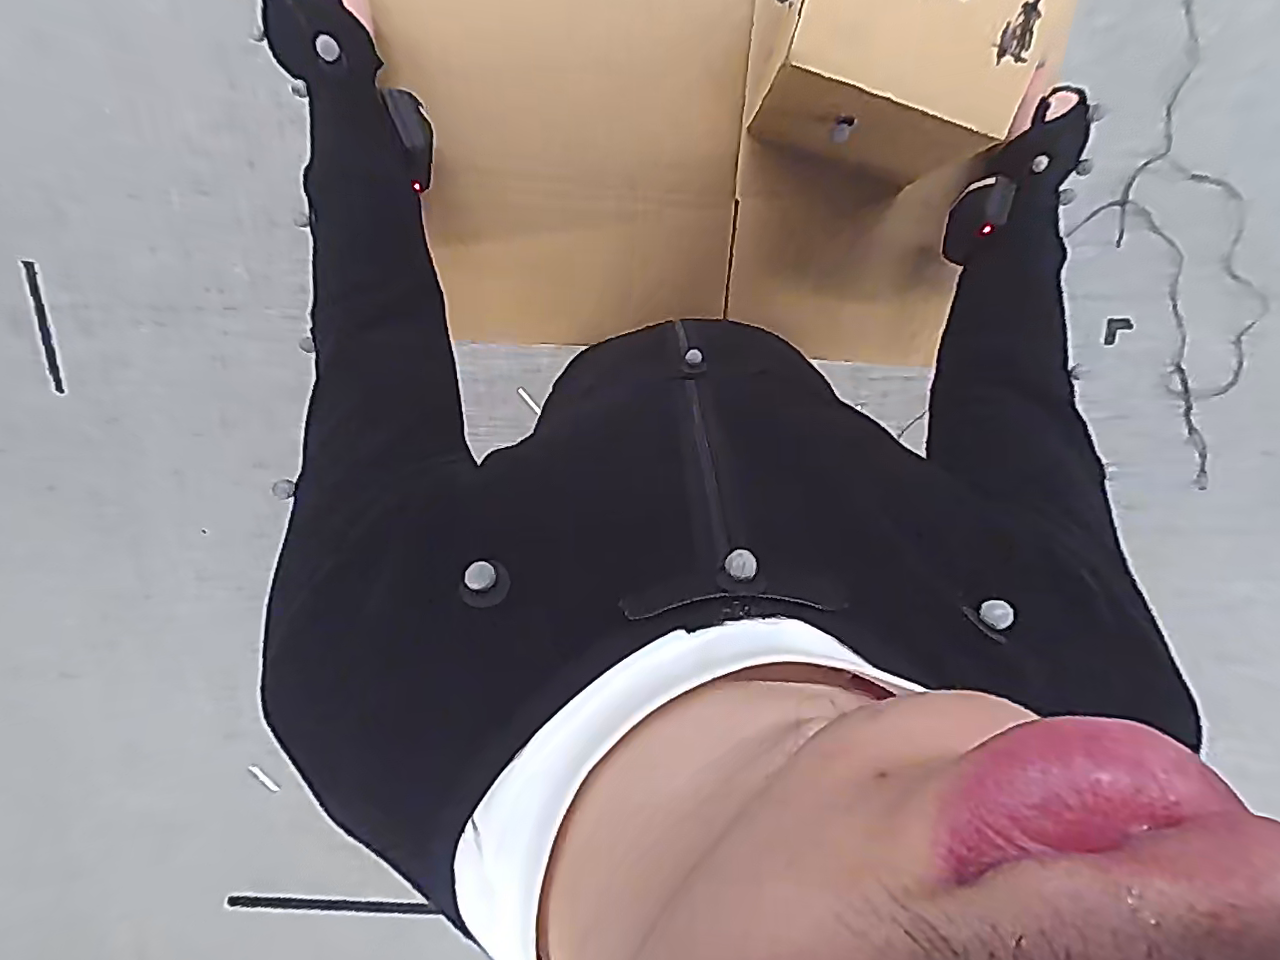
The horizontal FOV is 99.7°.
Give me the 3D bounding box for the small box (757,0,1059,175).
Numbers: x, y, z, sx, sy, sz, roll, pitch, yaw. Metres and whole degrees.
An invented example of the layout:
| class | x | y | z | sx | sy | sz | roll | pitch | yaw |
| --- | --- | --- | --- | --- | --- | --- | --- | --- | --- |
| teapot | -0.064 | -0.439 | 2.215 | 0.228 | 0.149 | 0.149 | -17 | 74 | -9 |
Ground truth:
| class | x | y | z | sx | sy | sz | roll | pitch | yaw |
| --- | --- | --- | --- | --- | --- | --- | --- | --- | --- |
| small box | 0.213 | -0.380 | 0.452 | 0.179 | 0.176 | 0.168 | 17 | 108 | -3 |
